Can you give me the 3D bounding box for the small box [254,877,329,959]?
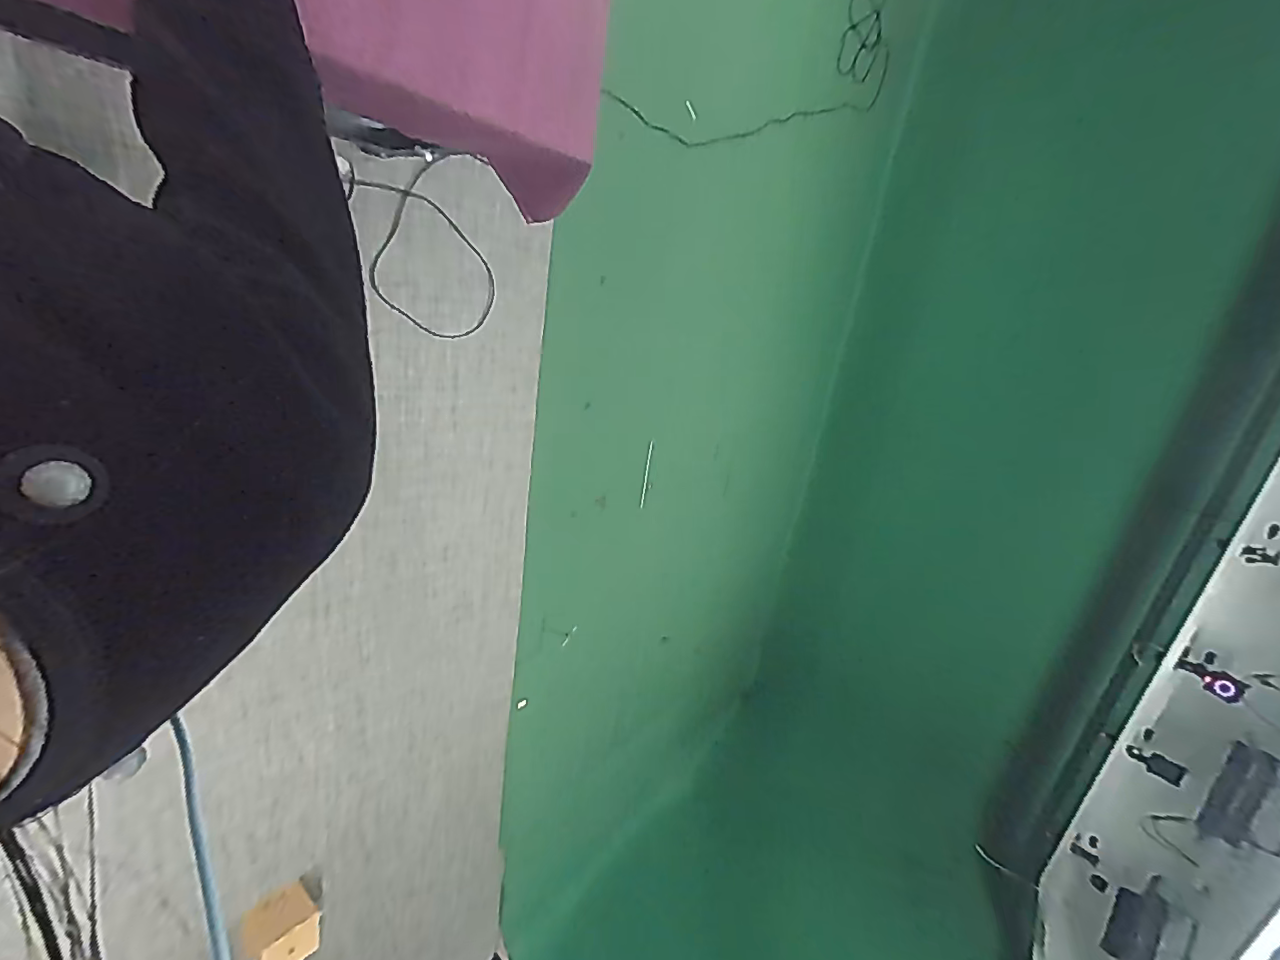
[{"bbox_3d":[-1.170,1.499,1.816,0.168,0.176,0.179,-13,118,-51],"label":"small box"}]
